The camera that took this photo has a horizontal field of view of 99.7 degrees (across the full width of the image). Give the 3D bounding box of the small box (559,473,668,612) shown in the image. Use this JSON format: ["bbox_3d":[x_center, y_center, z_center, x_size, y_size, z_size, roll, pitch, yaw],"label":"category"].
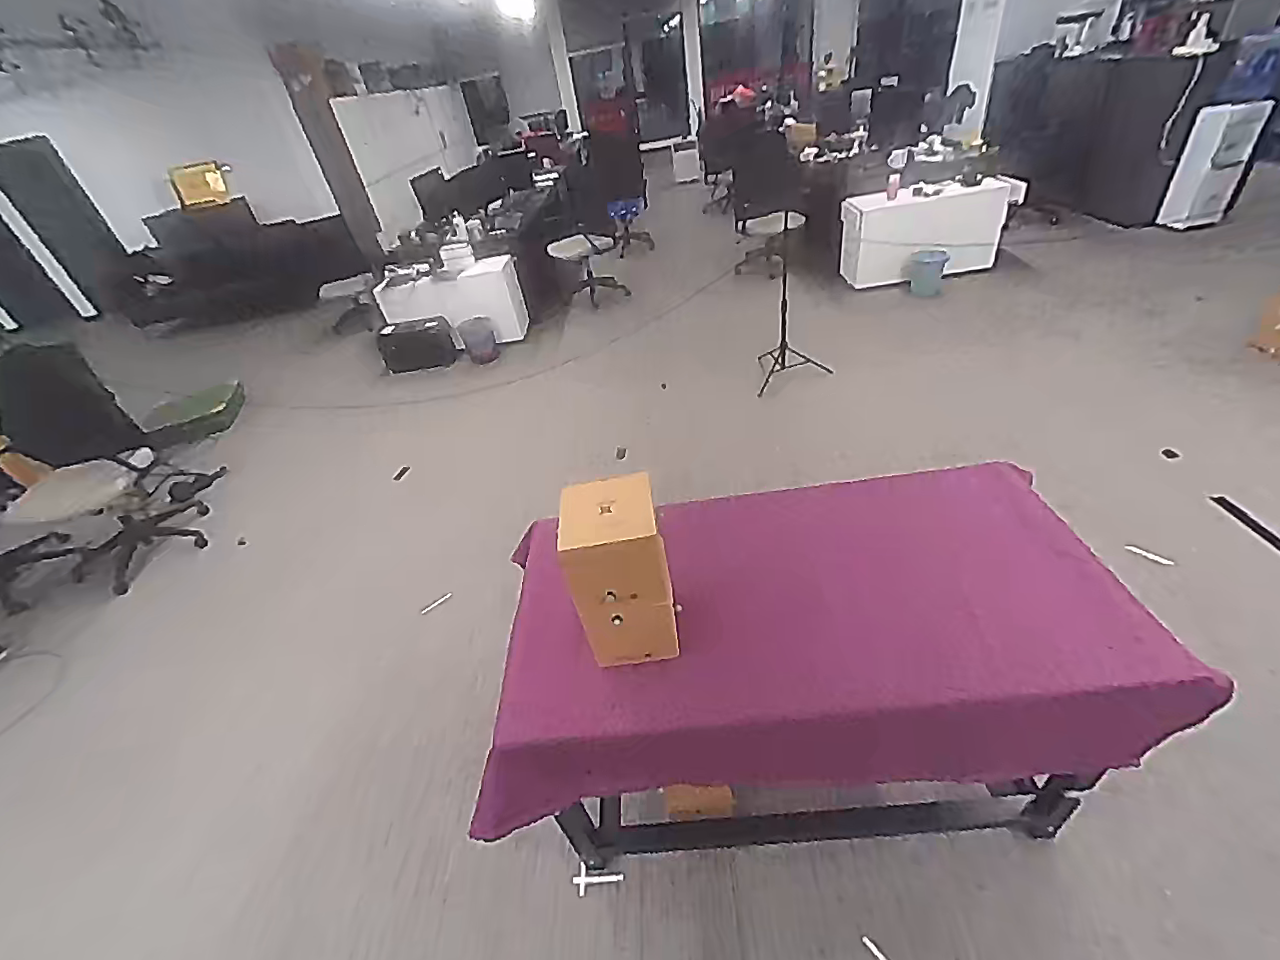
[{"bbox_3d":[-0.044,0.113,0.985,0.168,0.176,0.179,-9,37,2],"label":"small box"}]

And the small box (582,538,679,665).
[{"bbox_3d":[-0.016,0.242,1.082,0.168,0.176,0.179,-8,37,4],"label":"small box"}]
